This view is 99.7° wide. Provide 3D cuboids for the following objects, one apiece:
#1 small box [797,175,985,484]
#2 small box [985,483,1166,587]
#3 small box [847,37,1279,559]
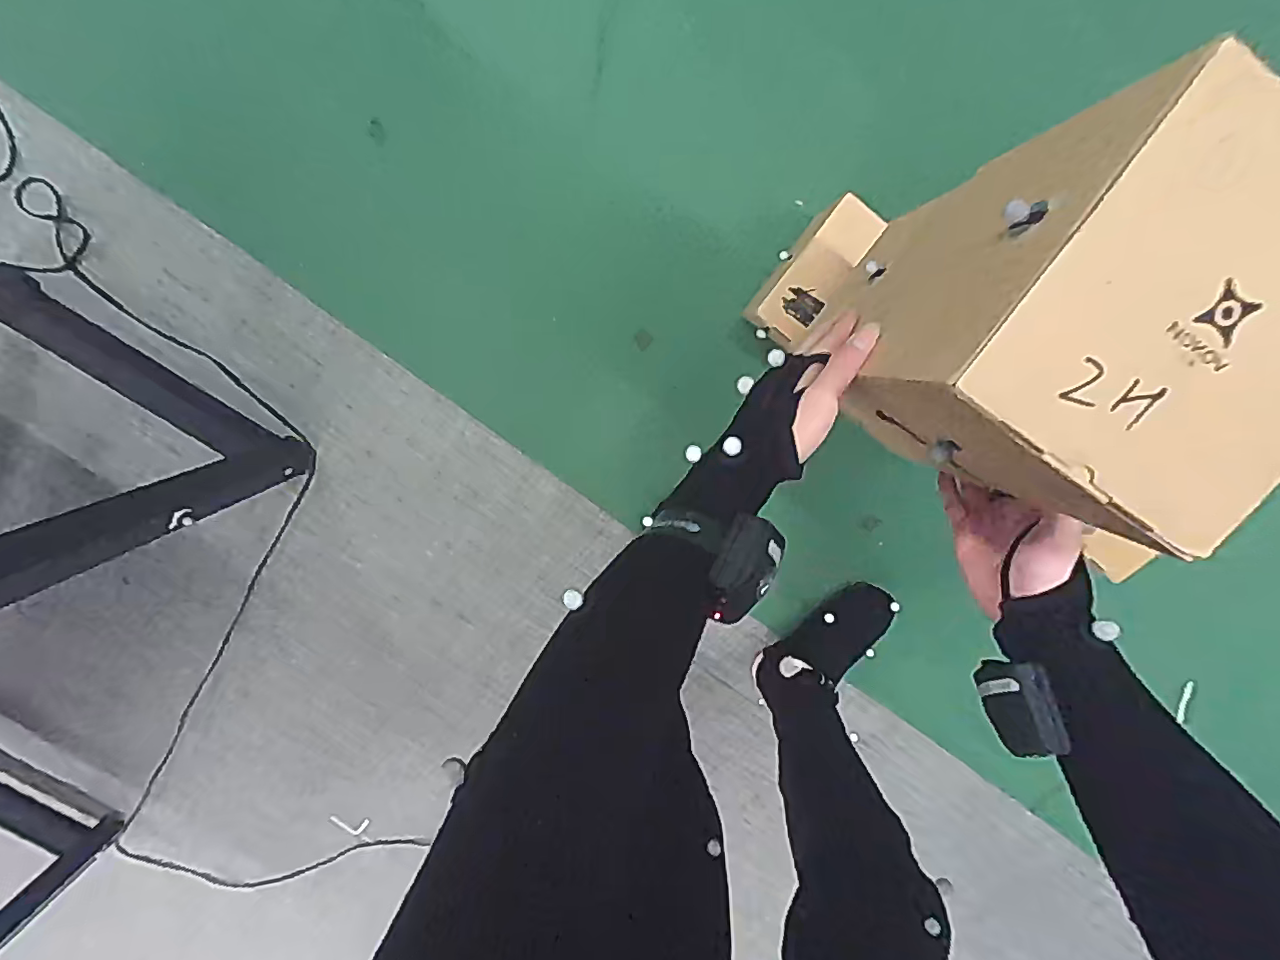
[{"bbox_3d":[0.265,-0.127,0.488,0.168,0.176,0.179,36,100,-8],"label":"small box"},{"bbox_3d":[0.669,0.016,0.801,0.168,0.176,0.179,39,107,-9],"label":"small box"},{"bbox_3d":[0.261,-0.091,0.327,0.168,0.176,0.179,34,101,-8],"label":"small box"}]
